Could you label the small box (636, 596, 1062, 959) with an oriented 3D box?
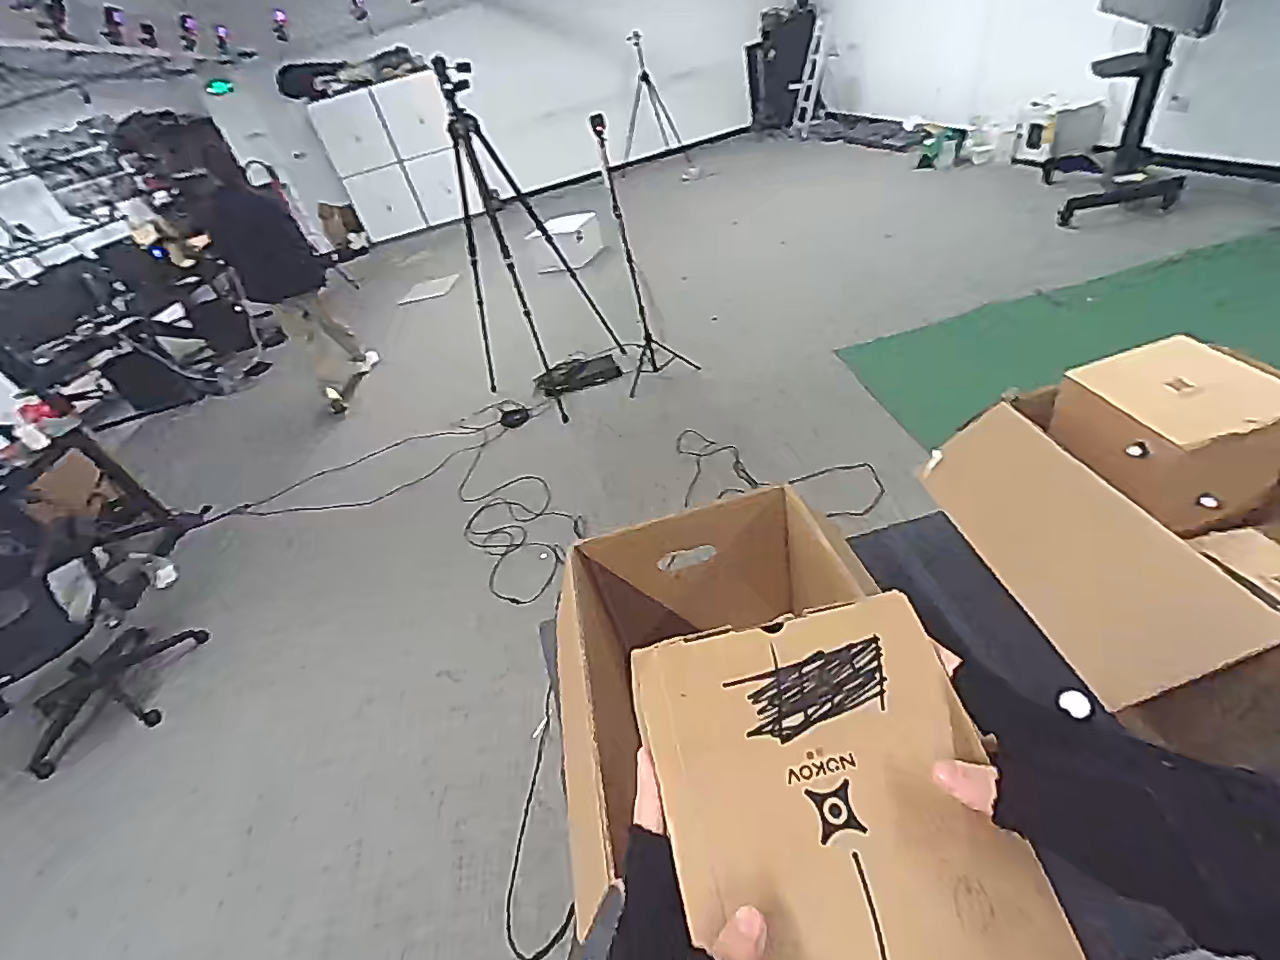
[{"bbox_3d":[0.092,0.195,0.342,0.168,0.176,0.179,-10,60,-6],"label":"small box"}]
